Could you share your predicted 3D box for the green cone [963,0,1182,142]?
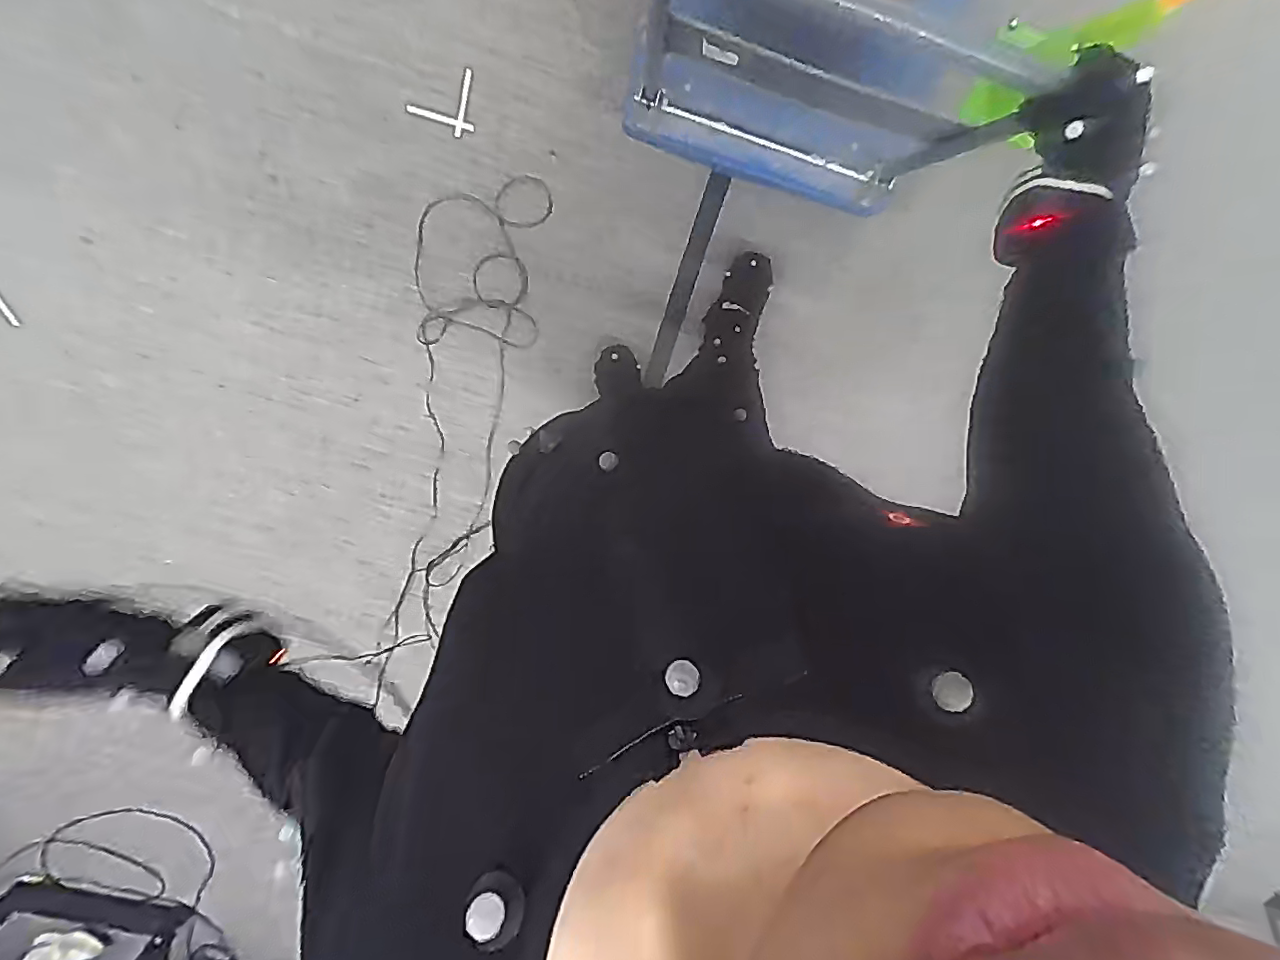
[{"bbox_3d":[0.851,-0.839,1.045,0.202,0.368,0.200,20,107,-8],"label":"green cone"}]
